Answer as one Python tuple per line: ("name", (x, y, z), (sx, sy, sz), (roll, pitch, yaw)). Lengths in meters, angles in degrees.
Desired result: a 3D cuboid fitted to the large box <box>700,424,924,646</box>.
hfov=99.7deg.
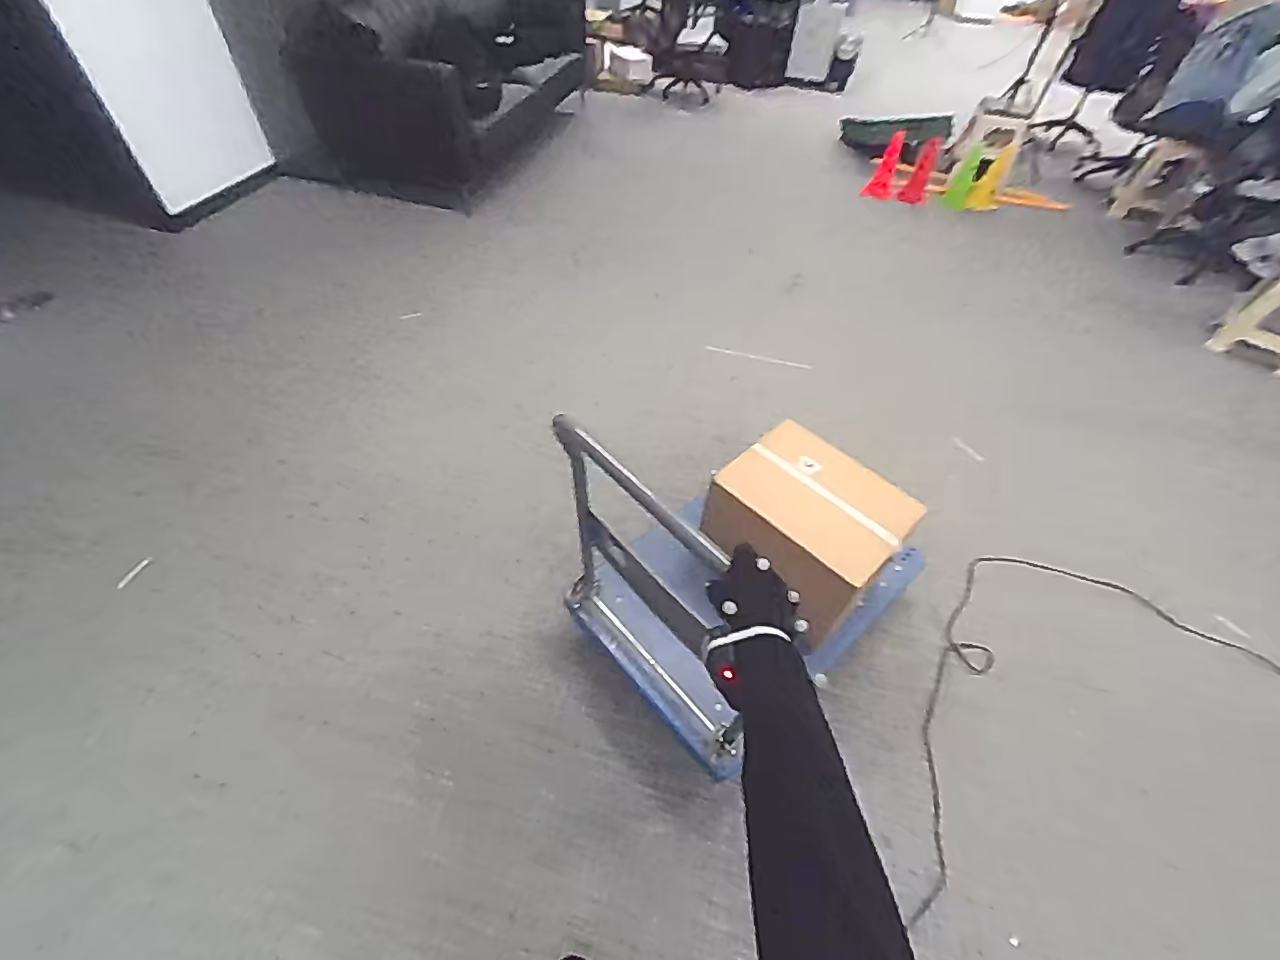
("large box", (0.413, 0.135, 1.380), (0.320, 0.320, 0.408), (-34, 59, -29))
